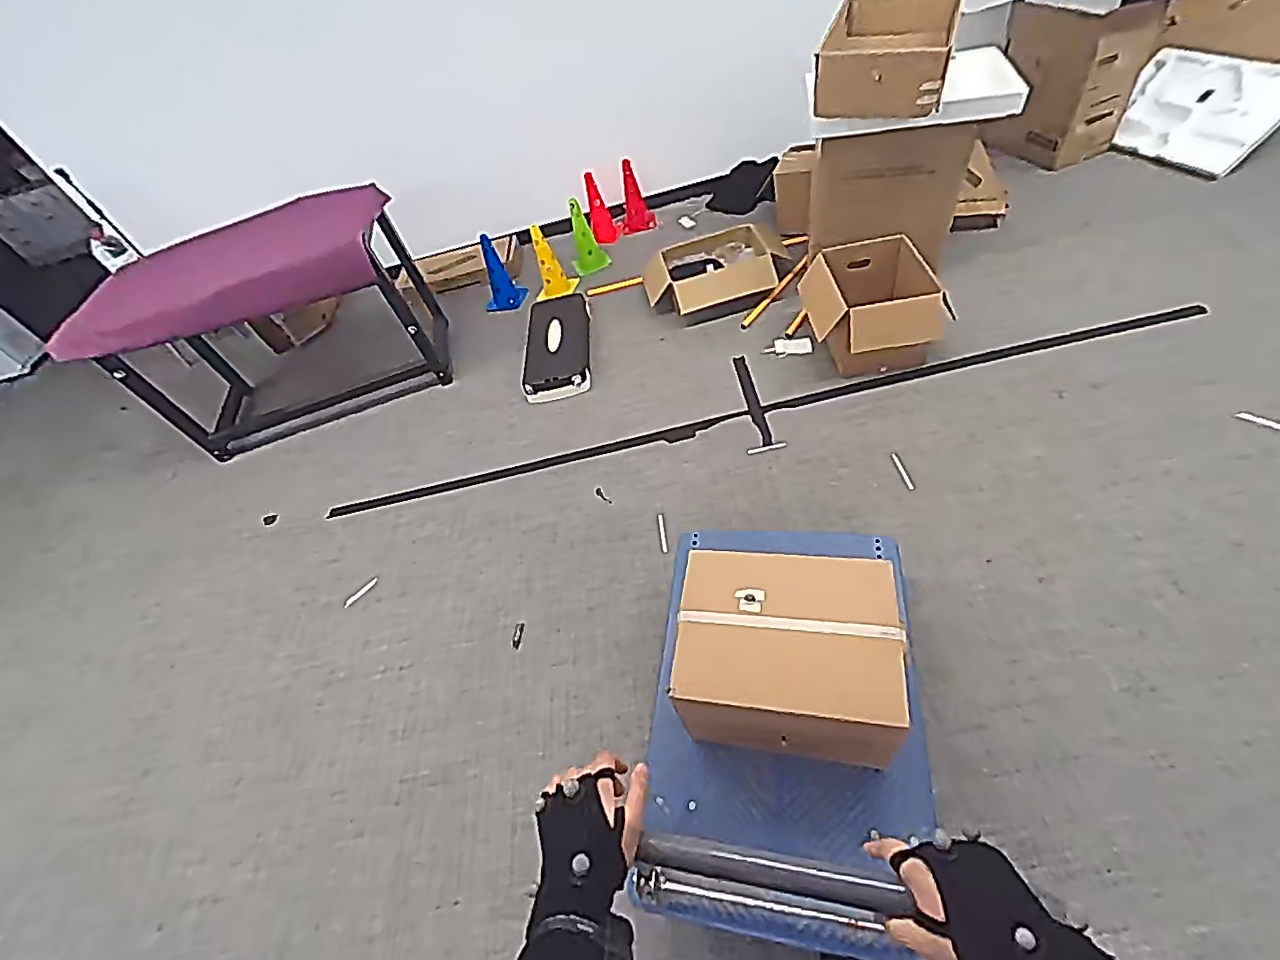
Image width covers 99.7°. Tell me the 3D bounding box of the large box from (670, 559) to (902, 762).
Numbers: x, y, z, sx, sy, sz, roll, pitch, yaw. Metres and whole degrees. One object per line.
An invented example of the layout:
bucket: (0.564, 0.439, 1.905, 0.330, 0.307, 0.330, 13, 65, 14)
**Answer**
large box: (0.305, 0.382, 1.152, 0.408, 0.320, 0.320, 0, 51, 17)
